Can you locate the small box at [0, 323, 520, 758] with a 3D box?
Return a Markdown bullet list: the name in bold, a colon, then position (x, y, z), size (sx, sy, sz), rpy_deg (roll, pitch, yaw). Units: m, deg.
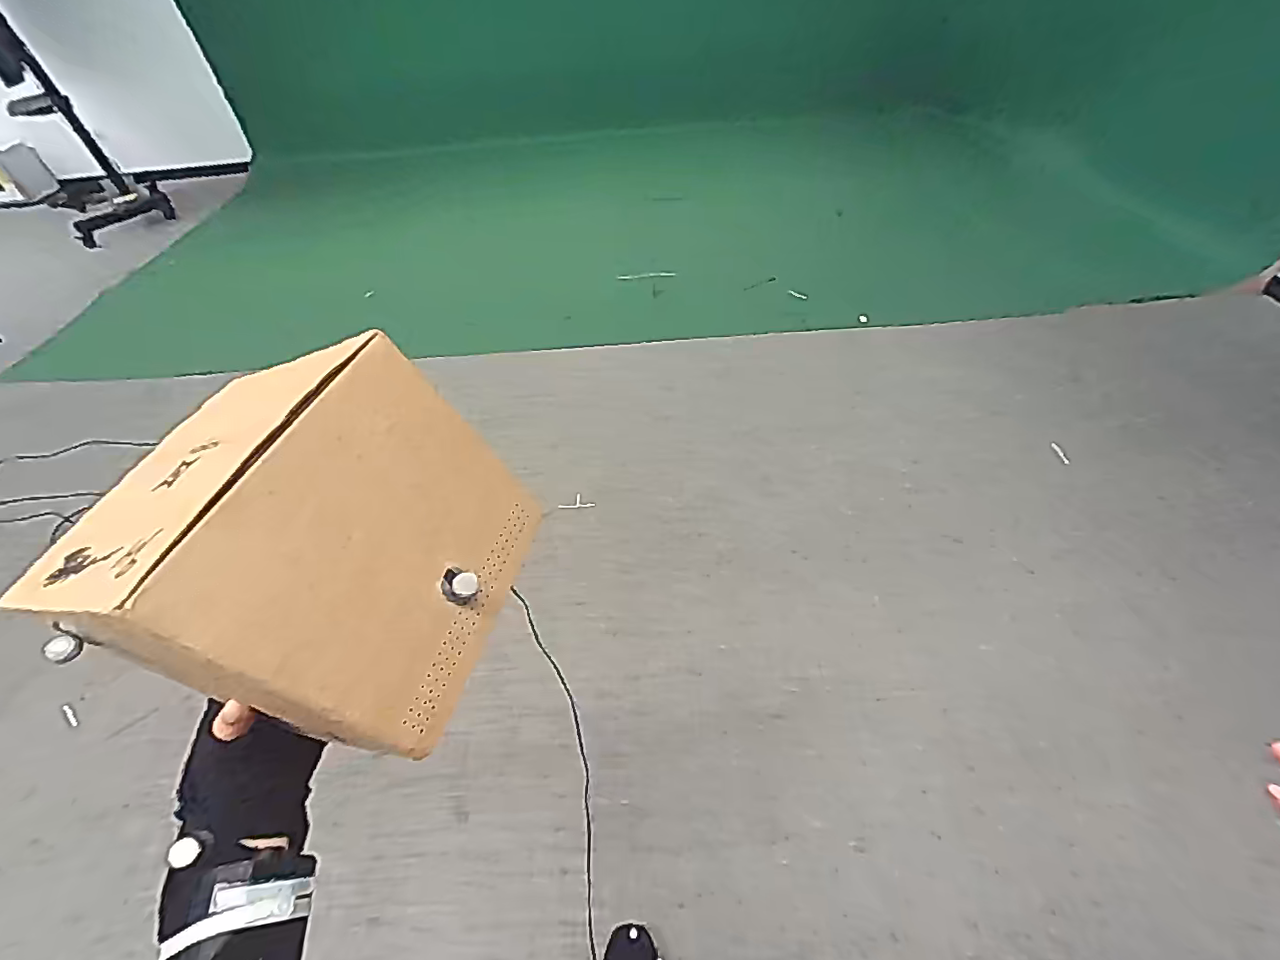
- **small box**: position (-0.200, 0.039, 0.328), size (0.168, 0.176, 0.179), rpy_deg (-7, 46, 30)
